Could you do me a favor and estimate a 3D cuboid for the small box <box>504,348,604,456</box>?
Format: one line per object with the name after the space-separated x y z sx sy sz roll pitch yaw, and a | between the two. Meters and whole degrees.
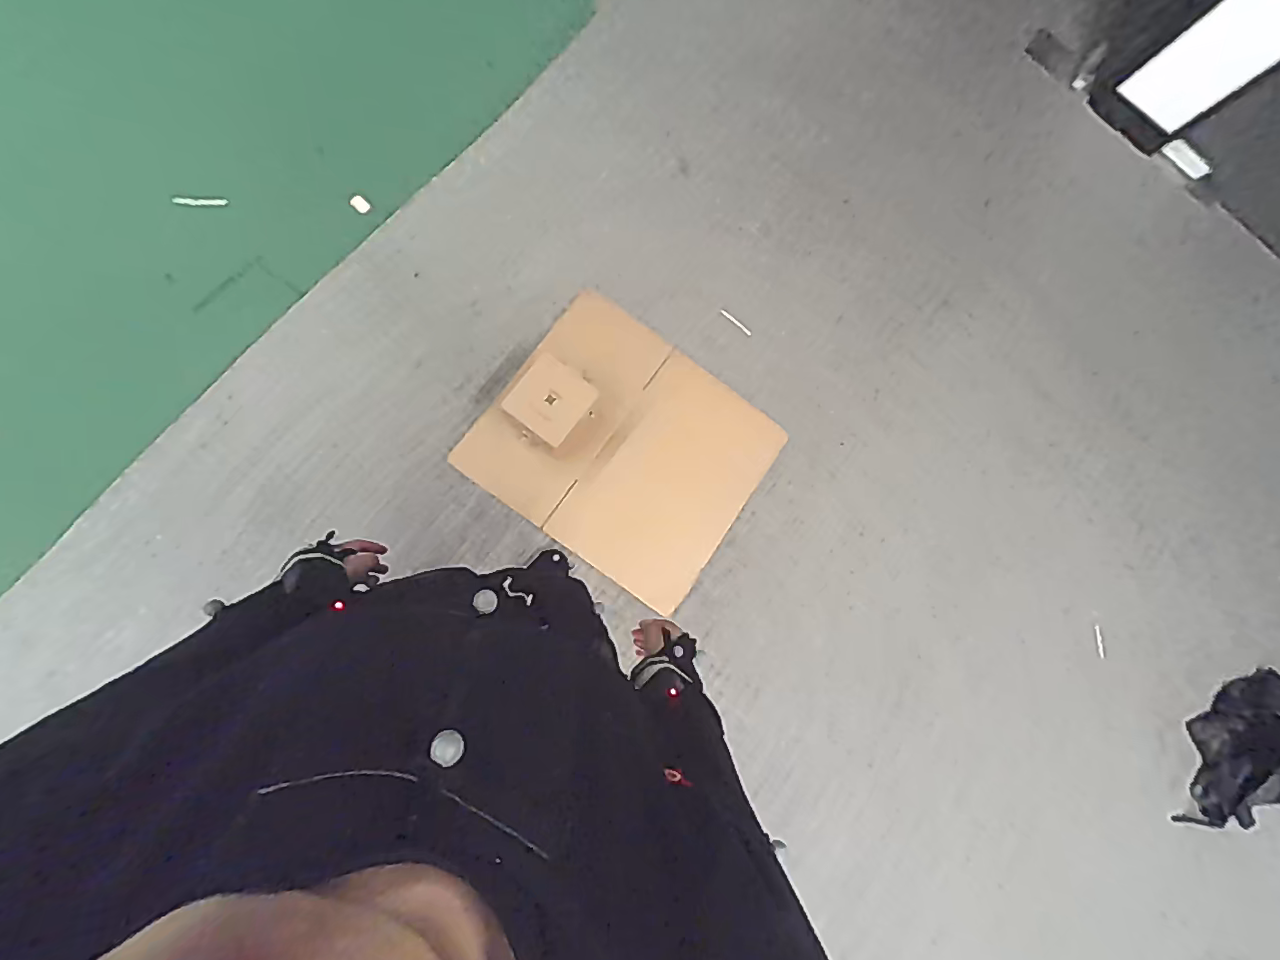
-0.208 -0.181 1.314 0.168 0.176 0.179 37 80 -2 | small box
